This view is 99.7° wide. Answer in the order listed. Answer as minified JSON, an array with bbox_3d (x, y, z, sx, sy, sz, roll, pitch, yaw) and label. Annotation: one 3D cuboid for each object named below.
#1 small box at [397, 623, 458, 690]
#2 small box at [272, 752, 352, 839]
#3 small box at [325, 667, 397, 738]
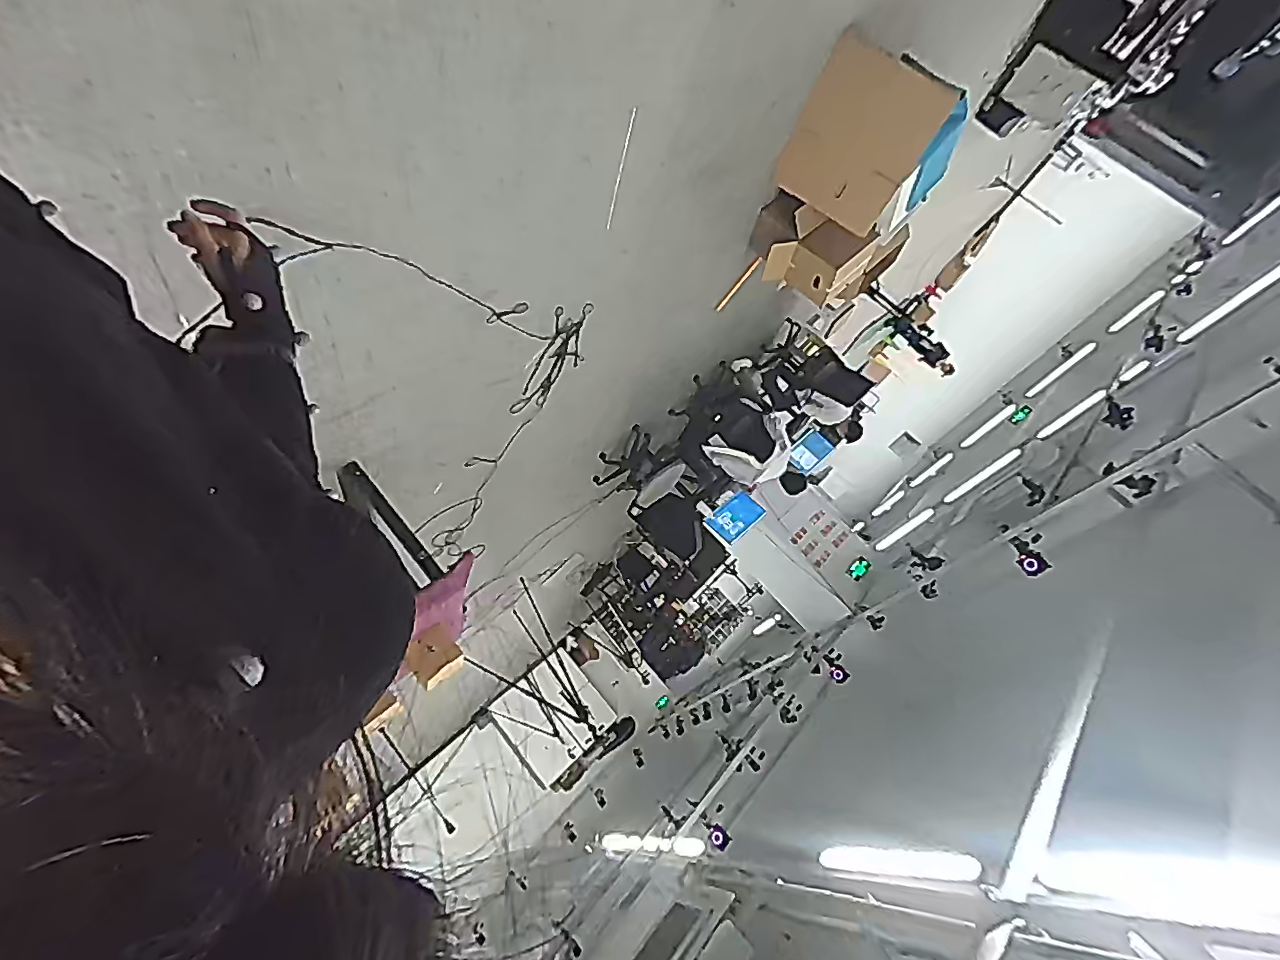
[{"bbox_3d":[-0.852,0.702,2.164,0.168,0.176,0.179,-33,162,-37],"label":"small box"},{"bbox_3d":[-1.096,1.051,1.804,0.179,0.176,0.168,-33,163,-39],"label":"small box"},{"bbox_3d":[-1.033,0.825,2.008,0.168,0.176,0.179,-36,164,-31],"label":"small box"}]
